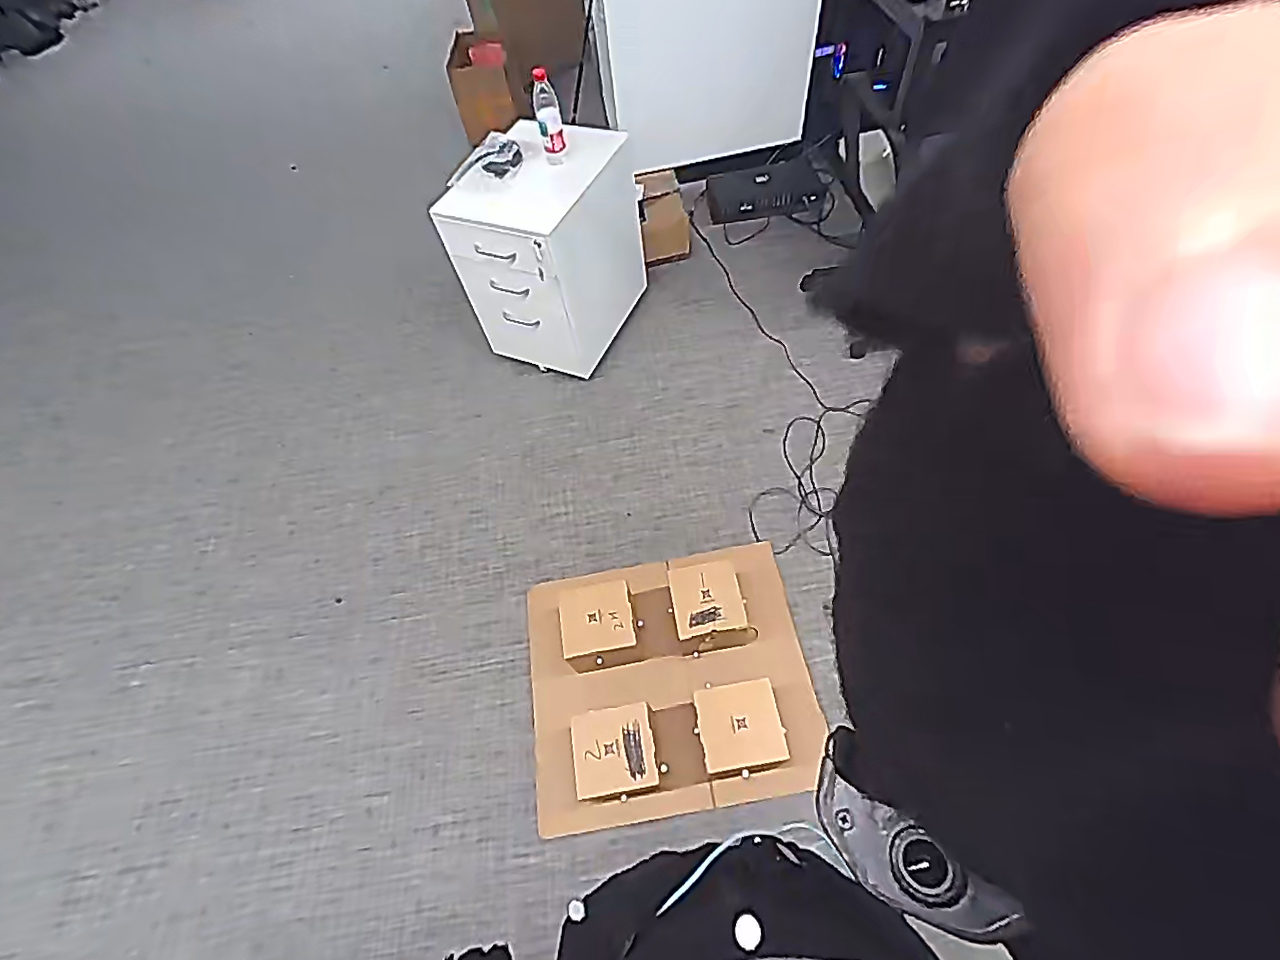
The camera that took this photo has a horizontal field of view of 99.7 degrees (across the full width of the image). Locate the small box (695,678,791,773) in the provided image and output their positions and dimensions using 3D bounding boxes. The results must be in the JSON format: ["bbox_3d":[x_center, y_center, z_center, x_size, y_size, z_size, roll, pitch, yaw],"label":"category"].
[{"bbox_3d":[0.226,0.557,1.221,0.179,0.176,0.168,-11,58,3],"label":"small box"}]
